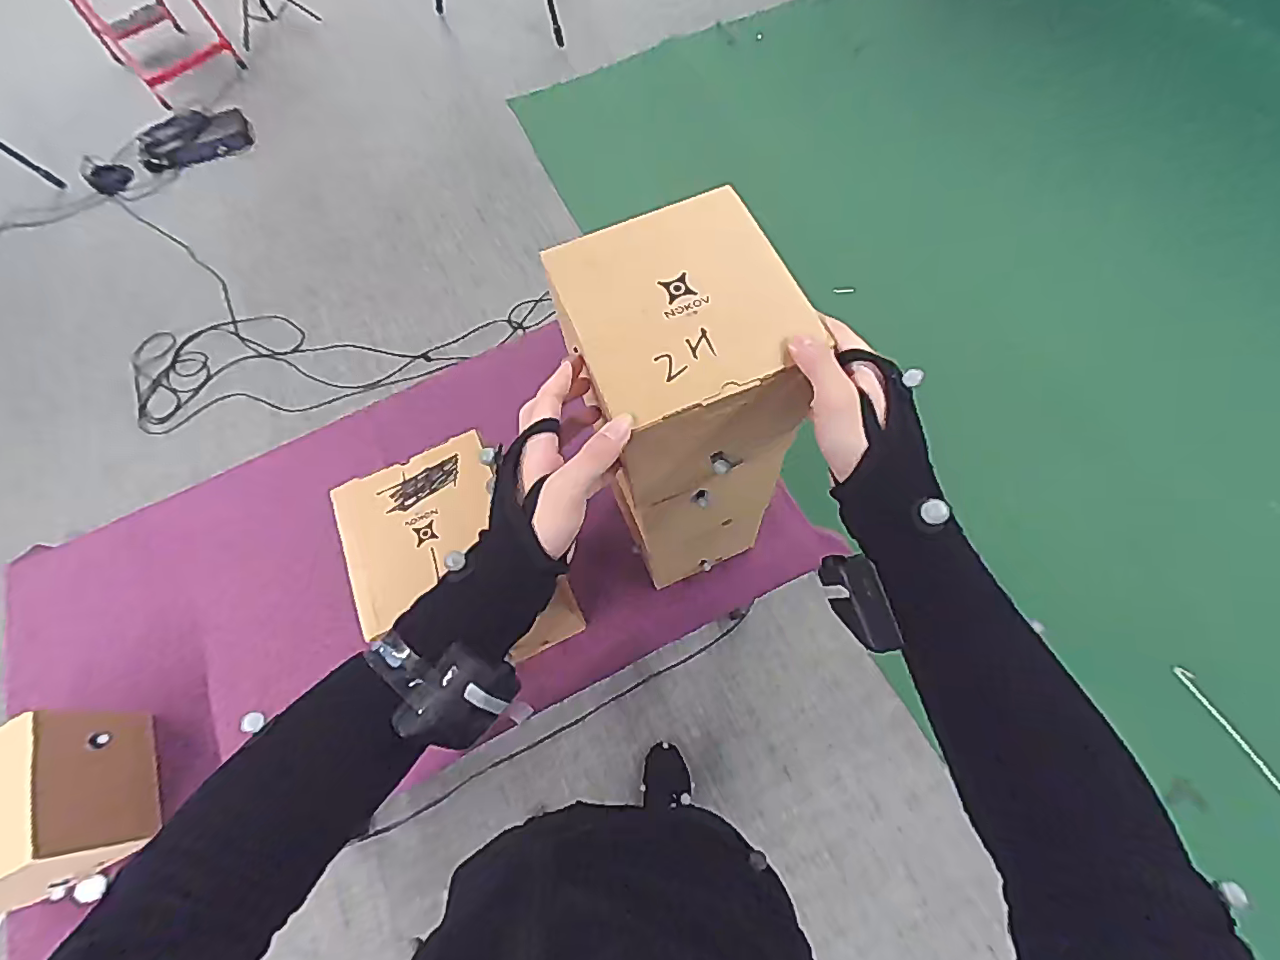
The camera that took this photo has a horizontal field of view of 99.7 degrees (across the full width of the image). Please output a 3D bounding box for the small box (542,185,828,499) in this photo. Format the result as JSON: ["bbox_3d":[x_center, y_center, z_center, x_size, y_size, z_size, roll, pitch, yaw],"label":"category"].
[{"bbox_3d":[0.030,-0.108,0.474,0.168,0.176,0.179,-21,70,-5],"label":"small box"}]

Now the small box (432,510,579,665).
[{"bbox_3d":[-0.200,0.147,0.764,0.168,0.176,0.179,-25,65,-7],"label":"small box"}]

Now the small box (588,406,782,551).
[{"bbox_3d":[0.044,-0.041,0.645,0.168,0.176,0.179,-23,65,-5],"label":"small box"}]

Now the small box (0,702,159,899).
[{"bbox_3d":[-0.765,0.407,0.685,0.168,0.176,0.179,-27,66,-7],"label":"small box"}]

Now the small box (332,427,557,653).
[{"bbox_3d":[-0.212,0.076,0.616,0.168,0.176,0.179,-24,66,-6],"label":"small box"}]
